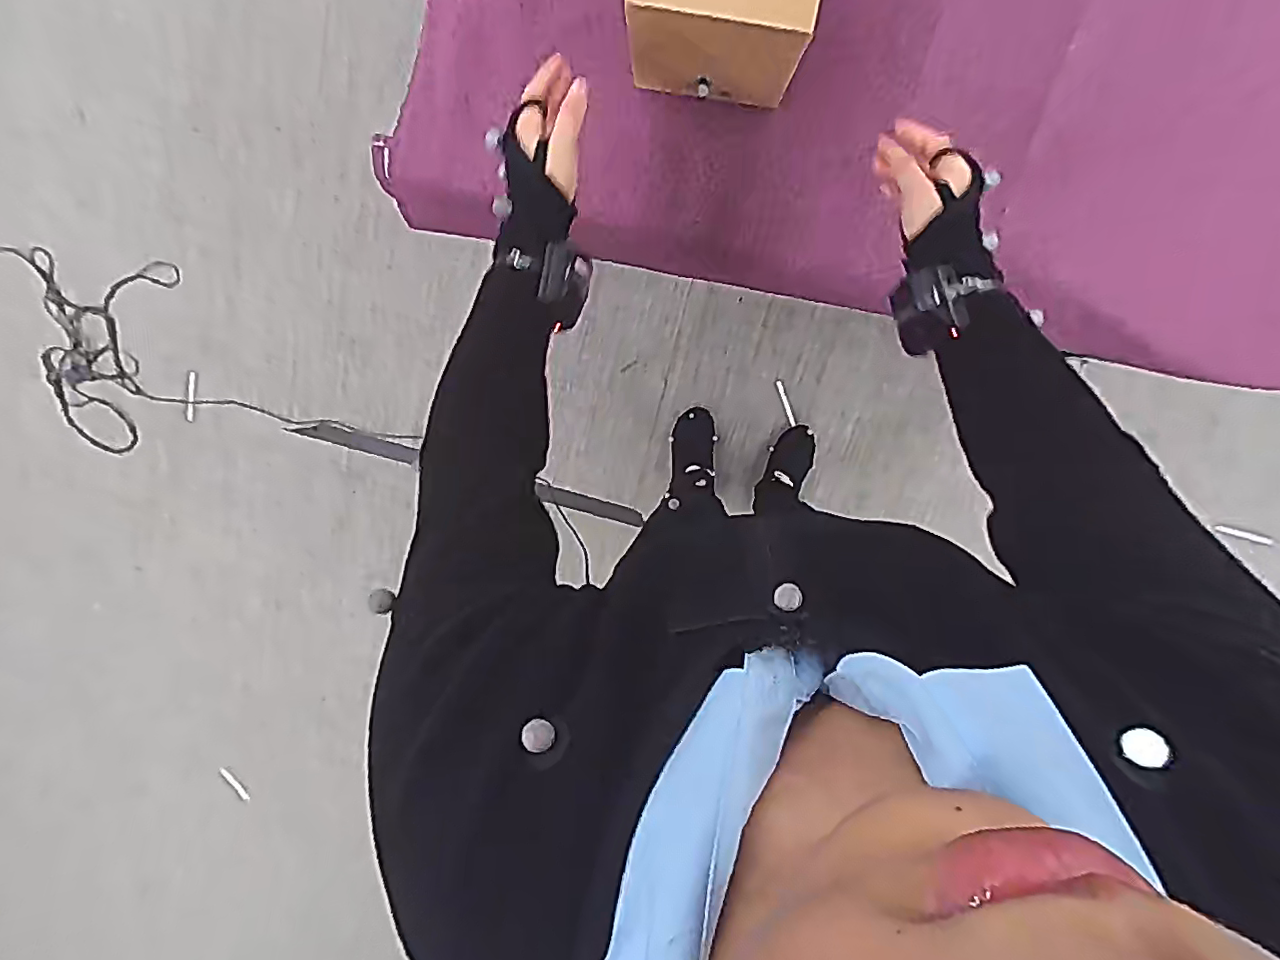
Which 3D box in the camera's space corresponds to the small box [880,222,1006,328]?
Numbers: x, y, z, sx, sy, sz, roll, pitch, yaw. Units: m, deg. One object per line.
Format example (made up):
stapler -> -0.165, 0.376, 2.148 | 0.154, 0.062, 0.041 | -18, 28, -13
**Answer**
small box -> 0.687, -0.464, 1.256 | 0.168, 0.176, 0.179 | 22, 104, -2
